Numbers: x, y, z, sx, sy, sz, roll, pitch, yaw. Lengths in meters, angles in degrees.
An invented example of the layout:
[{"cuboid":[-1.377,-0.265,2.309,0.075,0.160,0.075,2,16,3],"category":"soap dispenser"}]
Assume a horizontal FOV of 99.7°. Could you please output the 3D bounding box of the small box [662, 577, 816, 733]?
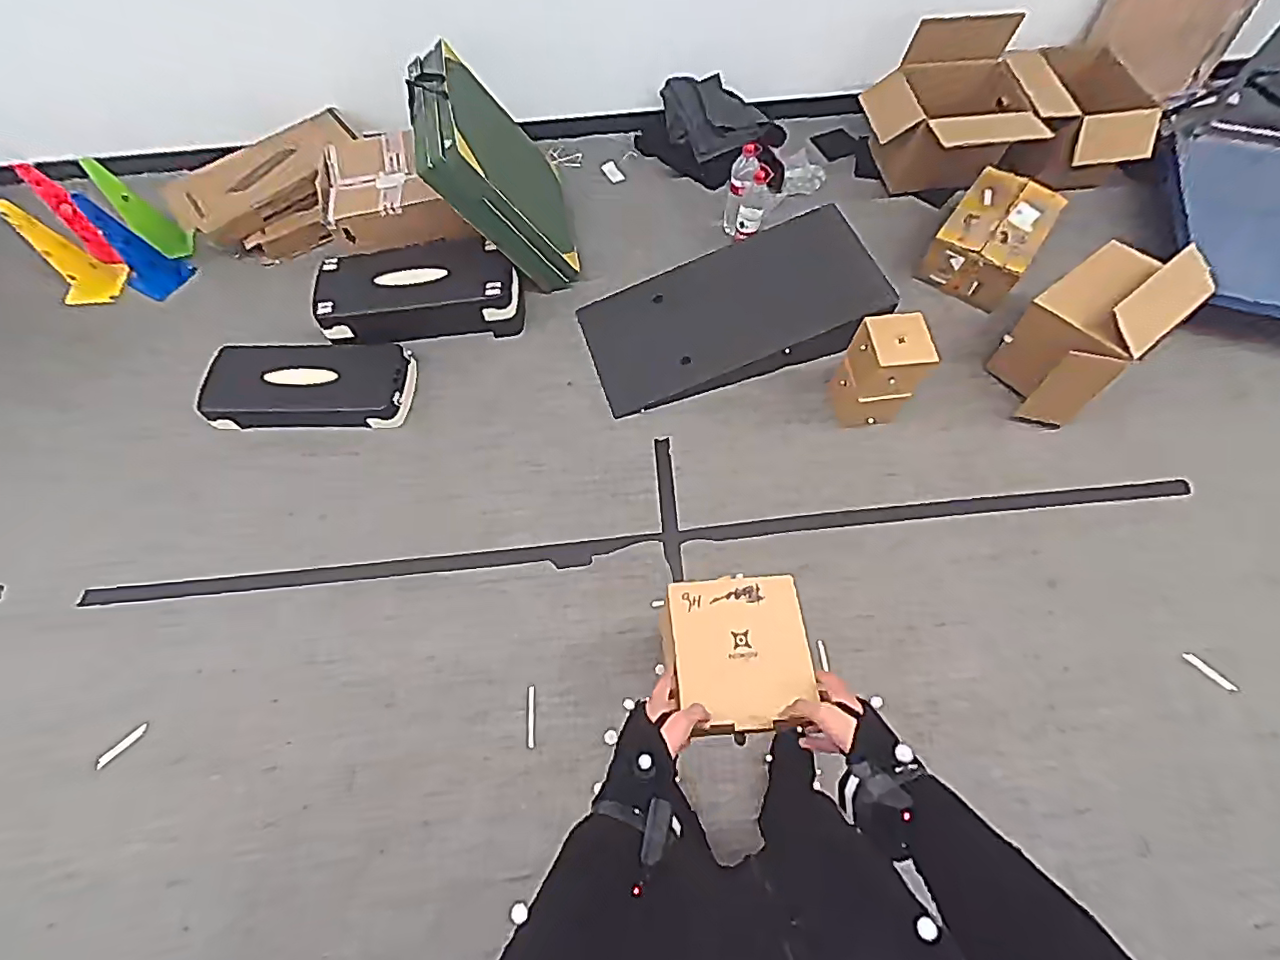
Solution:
[{"cuboid":[0.120,0.244,0.735,0.168,0.176,0.179,-3,62,-3],"category":"small box"}]
